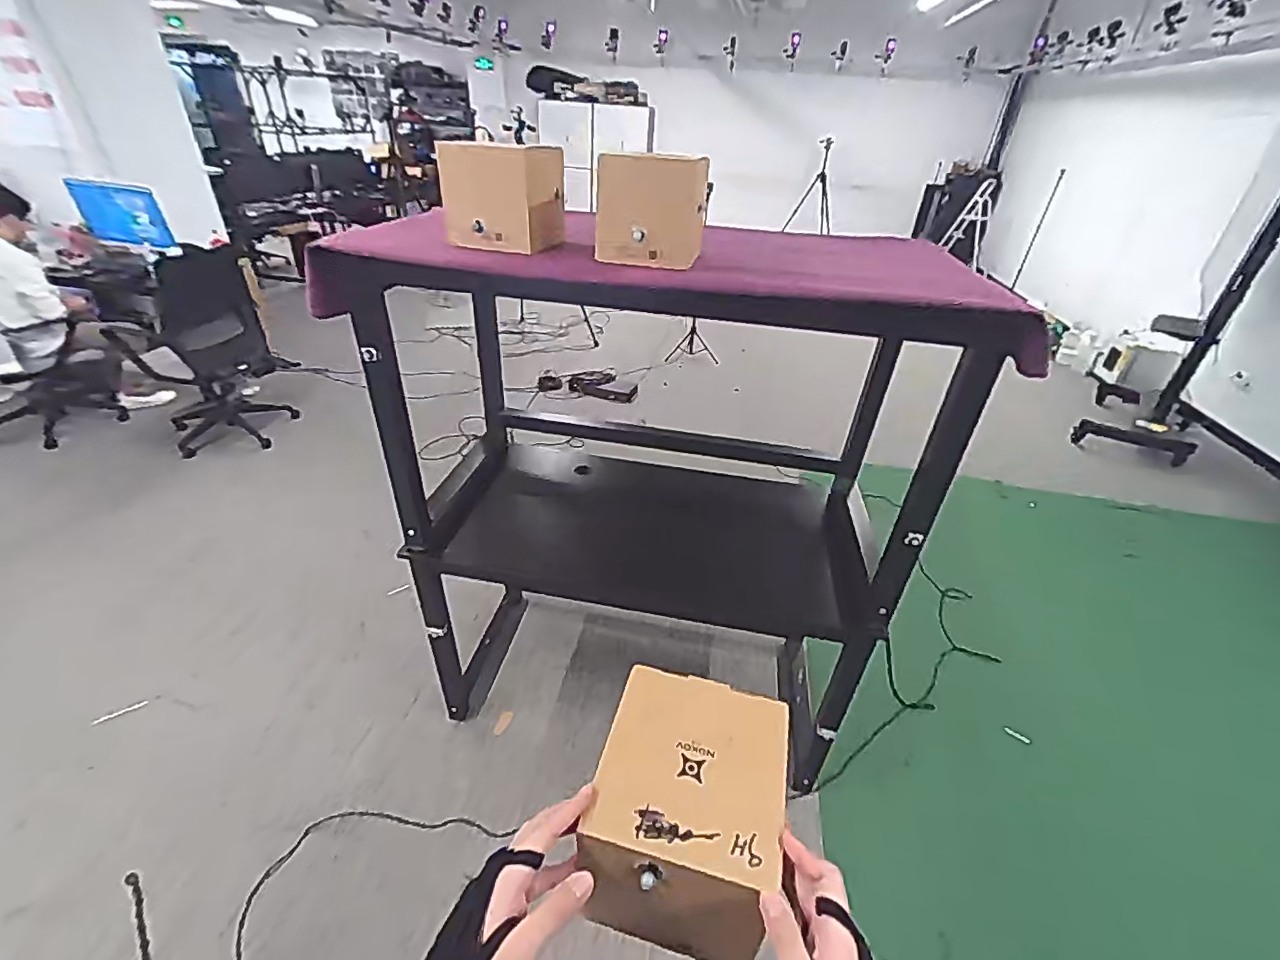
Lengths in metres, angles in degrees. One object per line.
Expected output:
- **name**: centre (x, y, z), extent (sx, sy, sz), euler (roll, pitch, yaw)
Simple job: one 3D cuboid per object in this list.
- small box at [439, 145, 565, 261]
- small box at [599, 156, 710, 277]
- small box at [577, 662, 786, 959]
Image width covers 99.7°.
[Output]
- **small box**: centre (-0.246, -0.516, 1.004), extent (0.168, 0.176, 0.179), euler (10, 33, 10)
- **small box**: centre (0.025, -0.473, 0.964), extent (0.168, 0.176, 0.179), euler (9, 33, 9)
- **small box**: centre (0.043, 0.321, 0.537), extent (0.168, 0.176, 0.179), euler (10, 32, 13)
